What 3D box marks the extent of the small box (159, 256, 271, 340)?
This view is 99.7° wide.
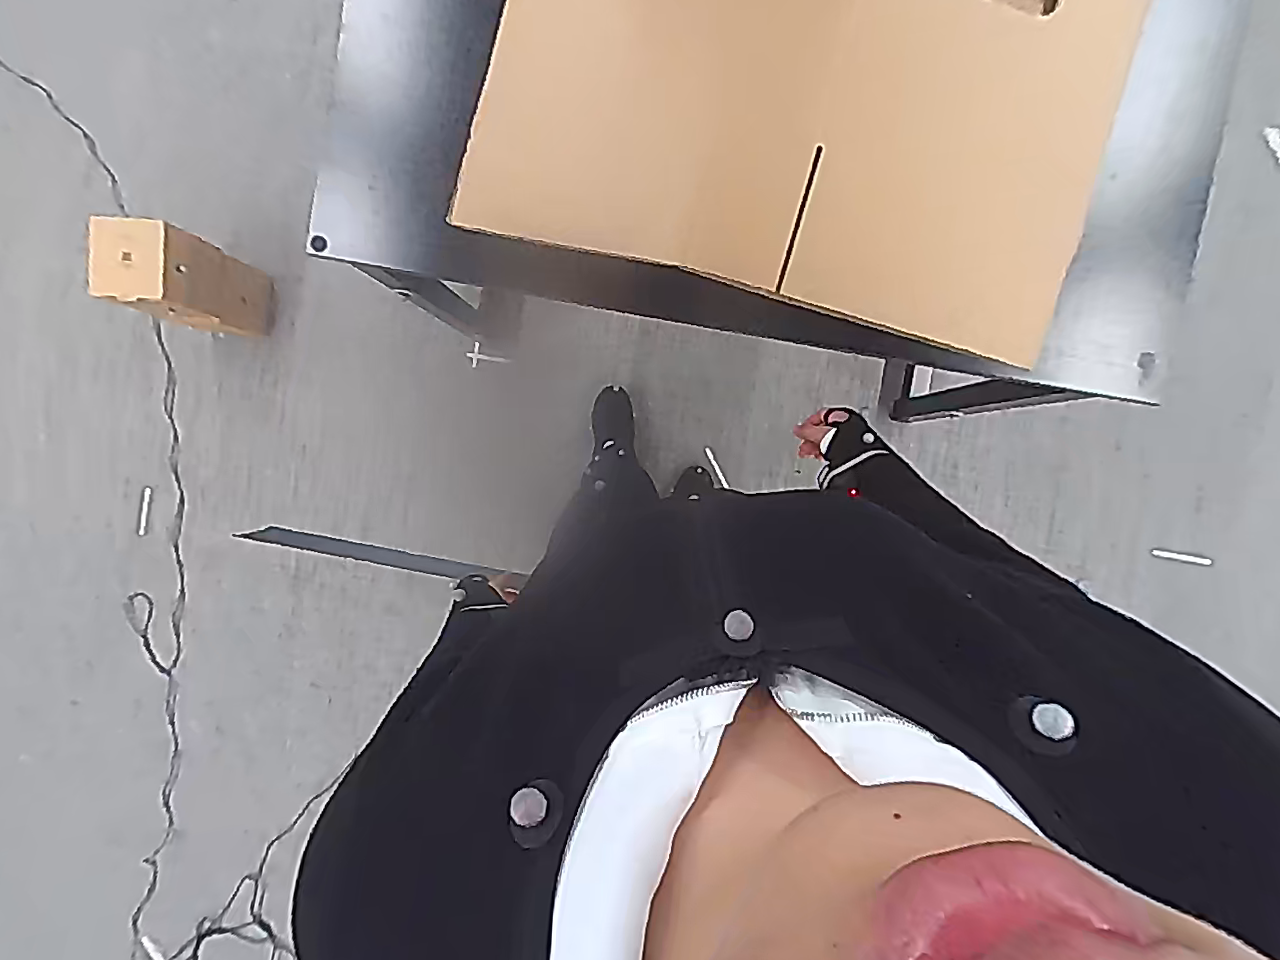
[{"bbox_3d":[-1.110,-0.481,1.423,0.168,0.176,0.179,6,93,1],"label":"small box"}]

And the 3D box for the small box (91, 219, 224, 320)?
[{"bbox_3d":[-1.115,-0.481,1.260,0.168,0.176,0.179,3,91,1],"label":"small box"}]
